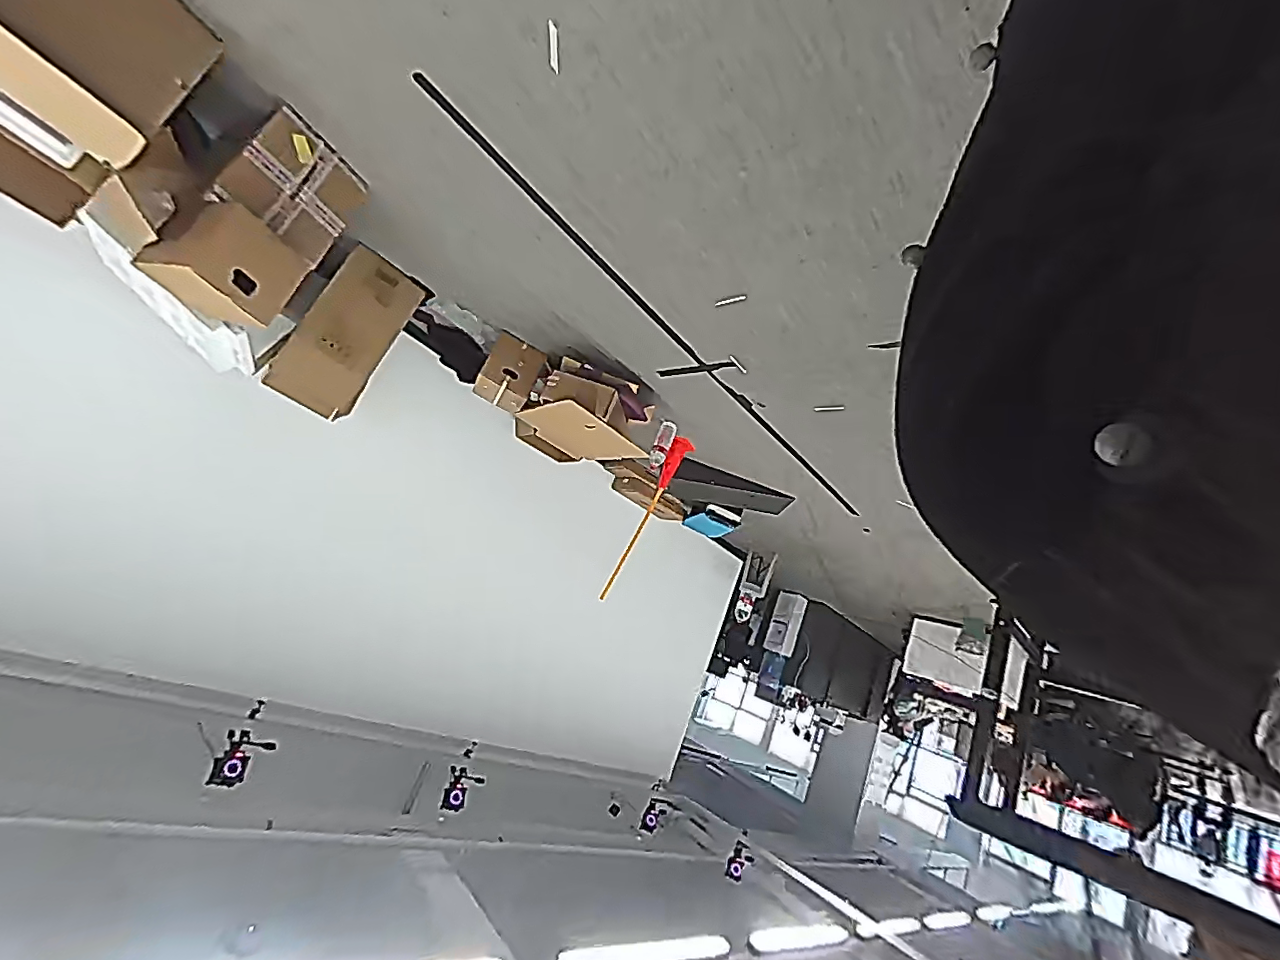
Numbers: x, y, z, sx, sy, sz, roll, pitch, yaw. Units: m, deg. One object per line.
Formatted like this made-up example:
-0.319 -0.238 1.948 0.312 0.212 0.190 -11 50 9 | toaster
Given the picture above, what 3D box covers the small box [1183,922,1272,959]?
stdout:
1.491 1.261 1.363 0.168 0.176 0.179 4 157 45 | small box
